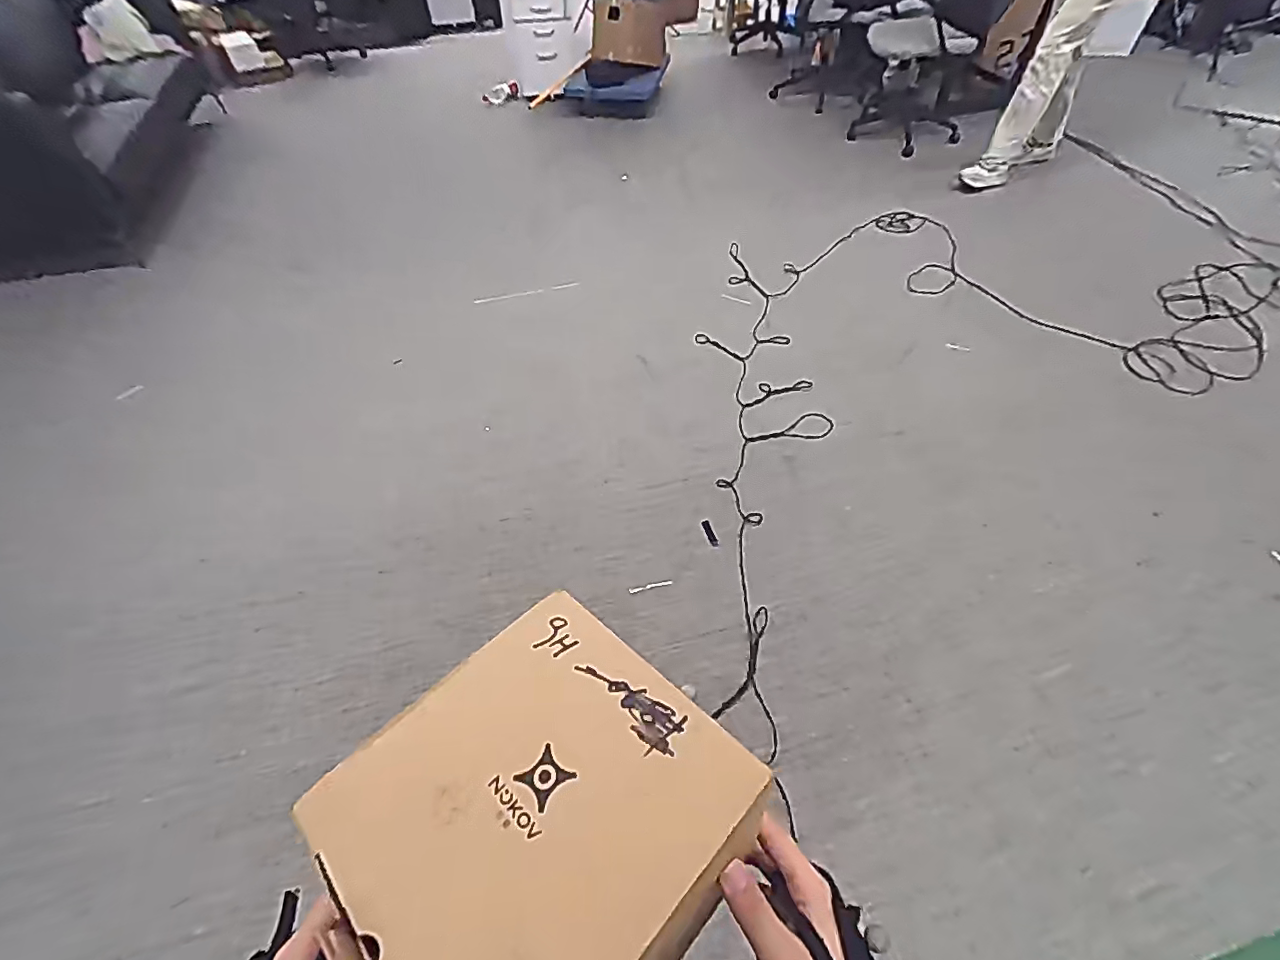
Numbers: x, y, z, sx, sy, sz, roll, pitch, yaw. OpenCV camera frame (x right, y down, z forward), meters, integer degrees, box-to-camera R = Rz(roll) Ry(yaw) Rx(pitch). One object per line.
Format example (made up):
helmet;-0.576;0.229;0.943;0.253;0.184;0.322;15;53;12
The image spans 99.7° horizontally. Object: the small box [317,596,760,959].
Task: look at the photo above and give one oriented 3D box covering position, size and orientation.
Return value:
small box;-0.045;0.215;0.331;0.168;0.176;0.179;31;54;33
